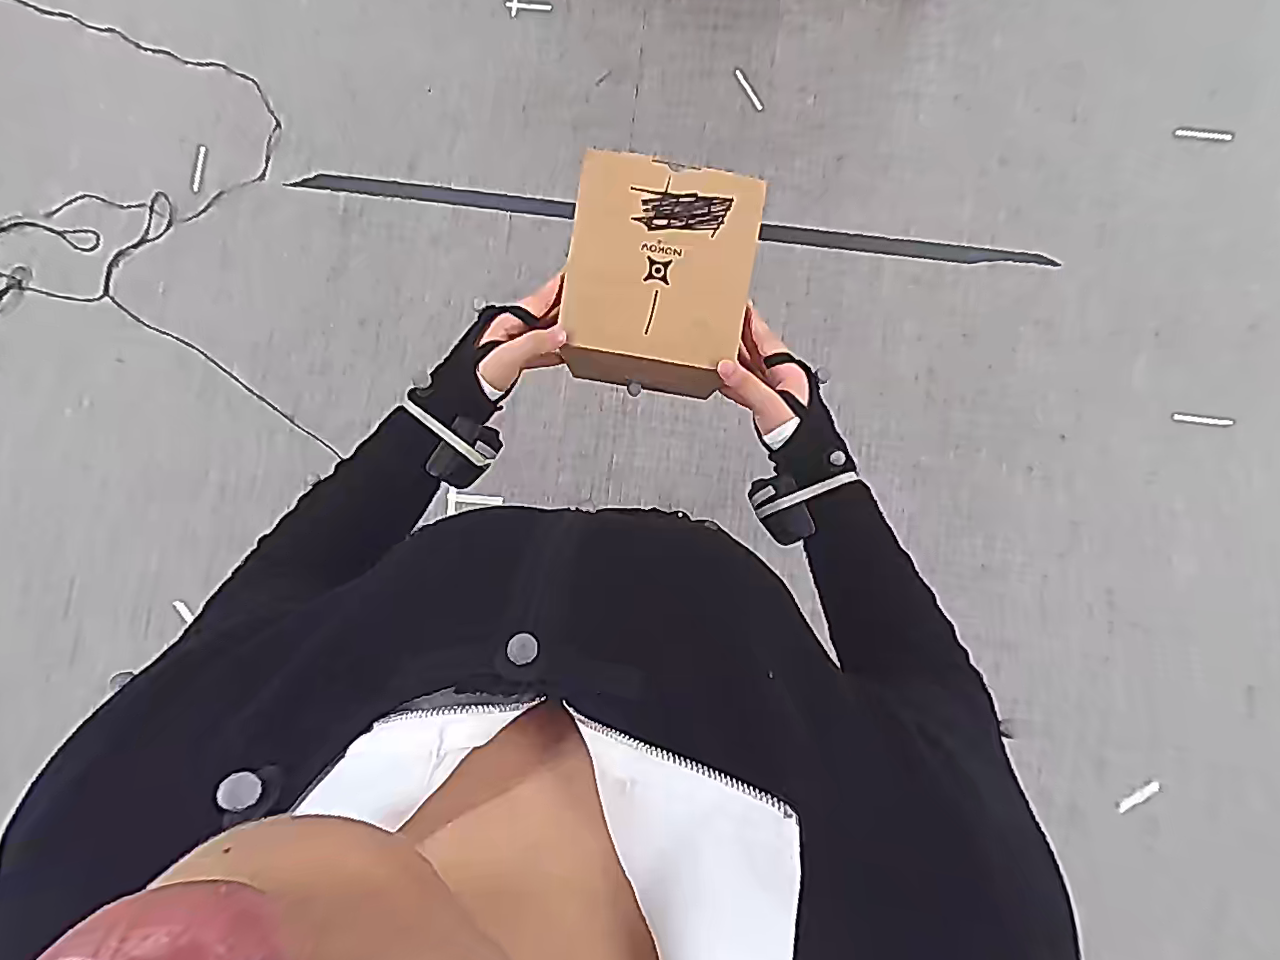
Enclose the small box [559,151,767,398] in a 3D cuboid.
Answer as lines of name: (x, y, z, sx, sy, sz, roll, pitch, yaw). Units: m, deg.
small box: (0.018, -0.195, 0.563, 0.168, 0.176, 0.179, 10, 90, -1)
